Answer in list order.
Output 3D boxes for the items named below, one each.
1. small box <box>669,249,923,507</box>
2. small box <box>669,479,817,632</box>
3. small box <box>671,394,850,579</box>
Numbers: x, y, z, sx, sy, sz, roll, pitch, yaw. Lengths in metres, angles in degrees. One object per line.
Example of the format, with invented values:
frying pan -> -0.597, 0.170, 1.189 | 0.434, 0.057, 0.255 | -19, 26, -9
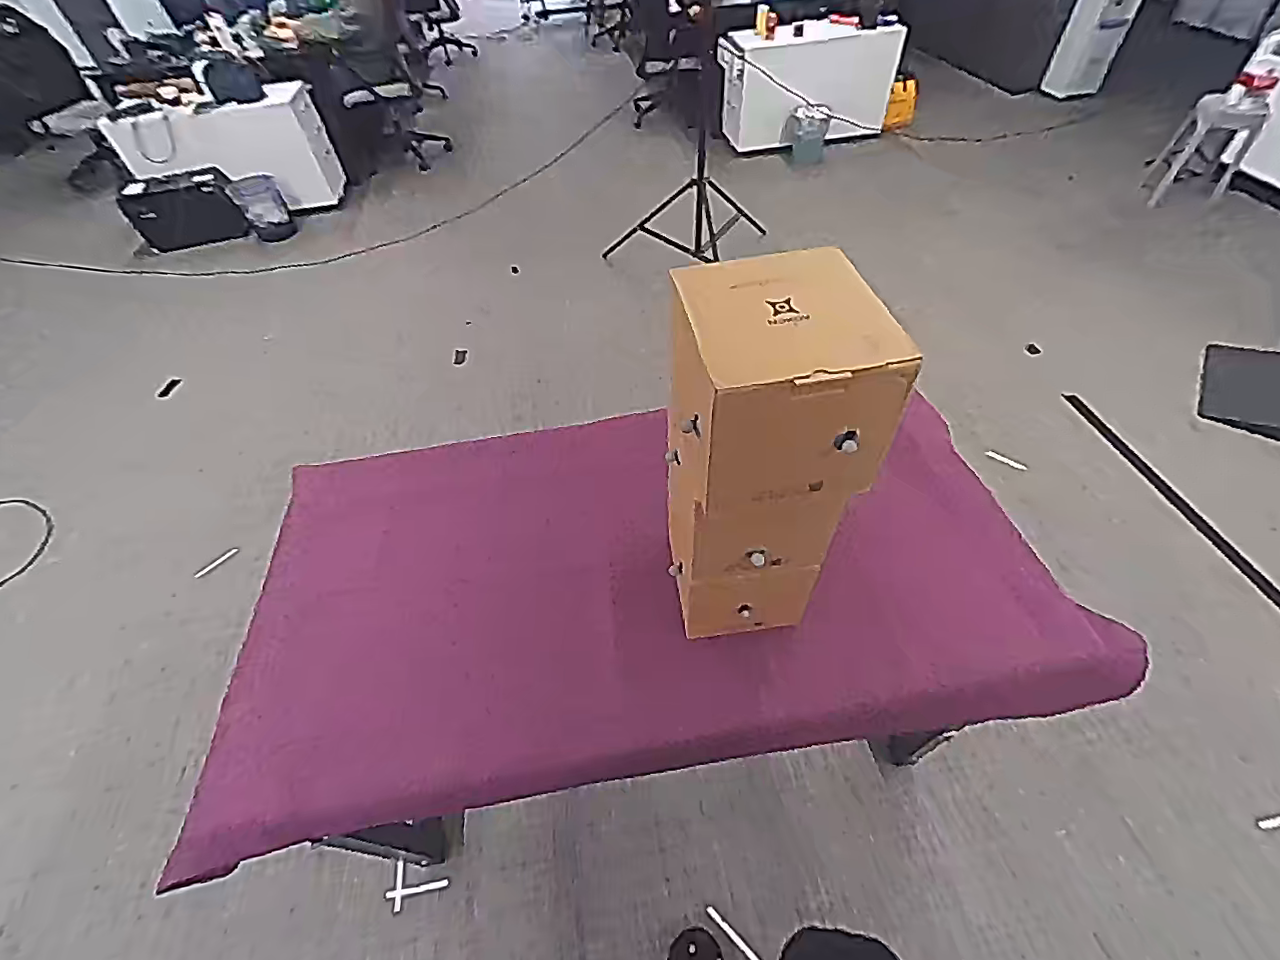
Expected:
small box -> 0.126, -0.090, 0.514 | 0.168, 0.176, 0.179 | -9, 50, -5
small box -> 0.135, 0.105, 0.777 | 0.168, 0.176, 0.179 | -7, 50, -2
small box -> 0.129, -0.003, 0.653 | 0.168, 0.176, 0.179 | -7, 51, -2
